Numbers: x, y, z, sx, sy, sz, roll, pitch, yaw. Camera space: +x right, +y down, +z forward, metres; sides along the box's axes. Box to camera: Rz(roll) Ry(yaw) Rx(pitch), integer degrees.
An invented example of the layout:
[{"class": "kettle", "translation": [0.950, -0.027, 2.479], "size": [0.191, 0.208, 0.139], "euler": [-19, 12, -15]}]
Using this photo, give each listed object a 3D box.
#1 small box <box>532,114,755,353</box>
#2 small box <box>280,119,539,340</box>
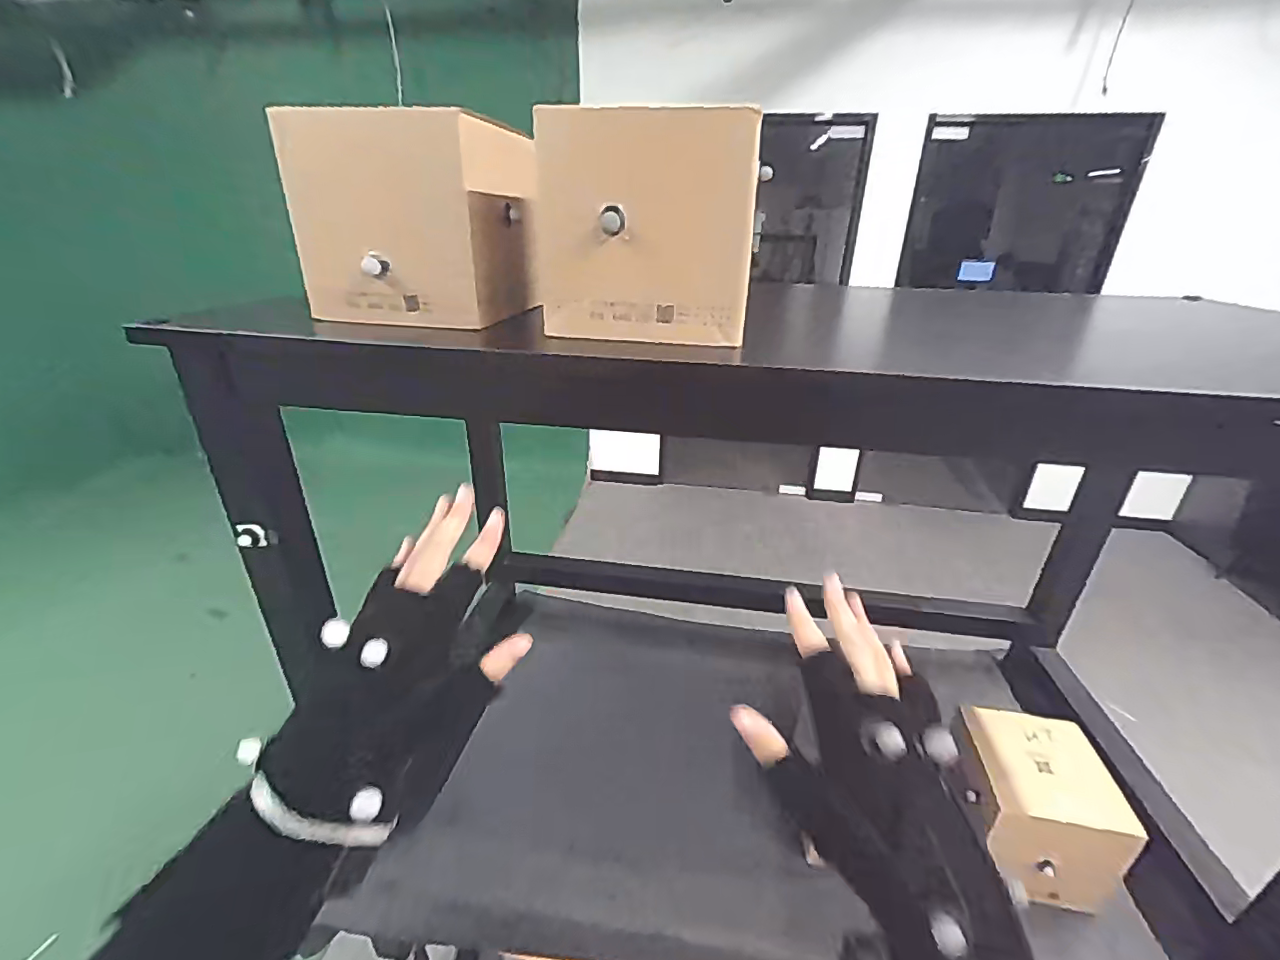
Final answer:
[{"class": "small box", "translation": [0.015, -0.216, 0.494], "size": [0.168, 0.176, 0.179], "euler": [5, 25, 9]}, {"class": "small box", "translation": [-0.205, -0.244, 0.538], "size": [0.168, 0.176, 0.179], "euler": [5, 26, 9]}]
